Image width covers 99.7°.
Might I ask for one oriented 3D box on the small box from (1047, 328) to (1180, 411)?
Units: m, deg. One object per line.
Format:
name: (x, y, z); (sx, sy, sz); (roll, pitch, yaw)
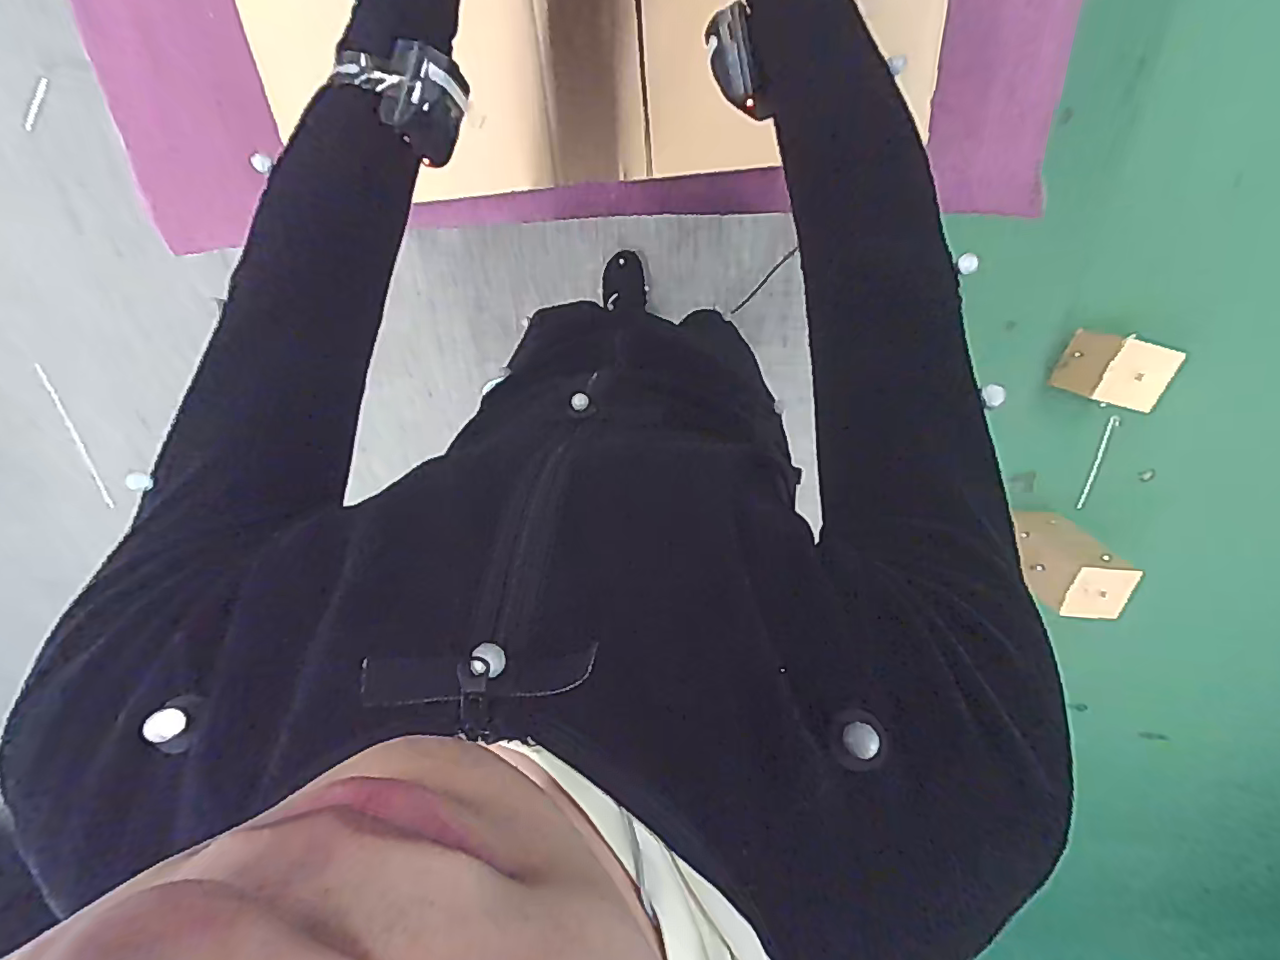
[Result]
small box: (1.285, -0.308, 1.483); (0.179, 0.176, 0.168); (13, 115, -5)

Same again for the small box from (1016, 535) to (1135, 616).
small box: (1.256, 0.273, 1.573); (0.179, 0.176, 0.168); (5, 115, -2)
